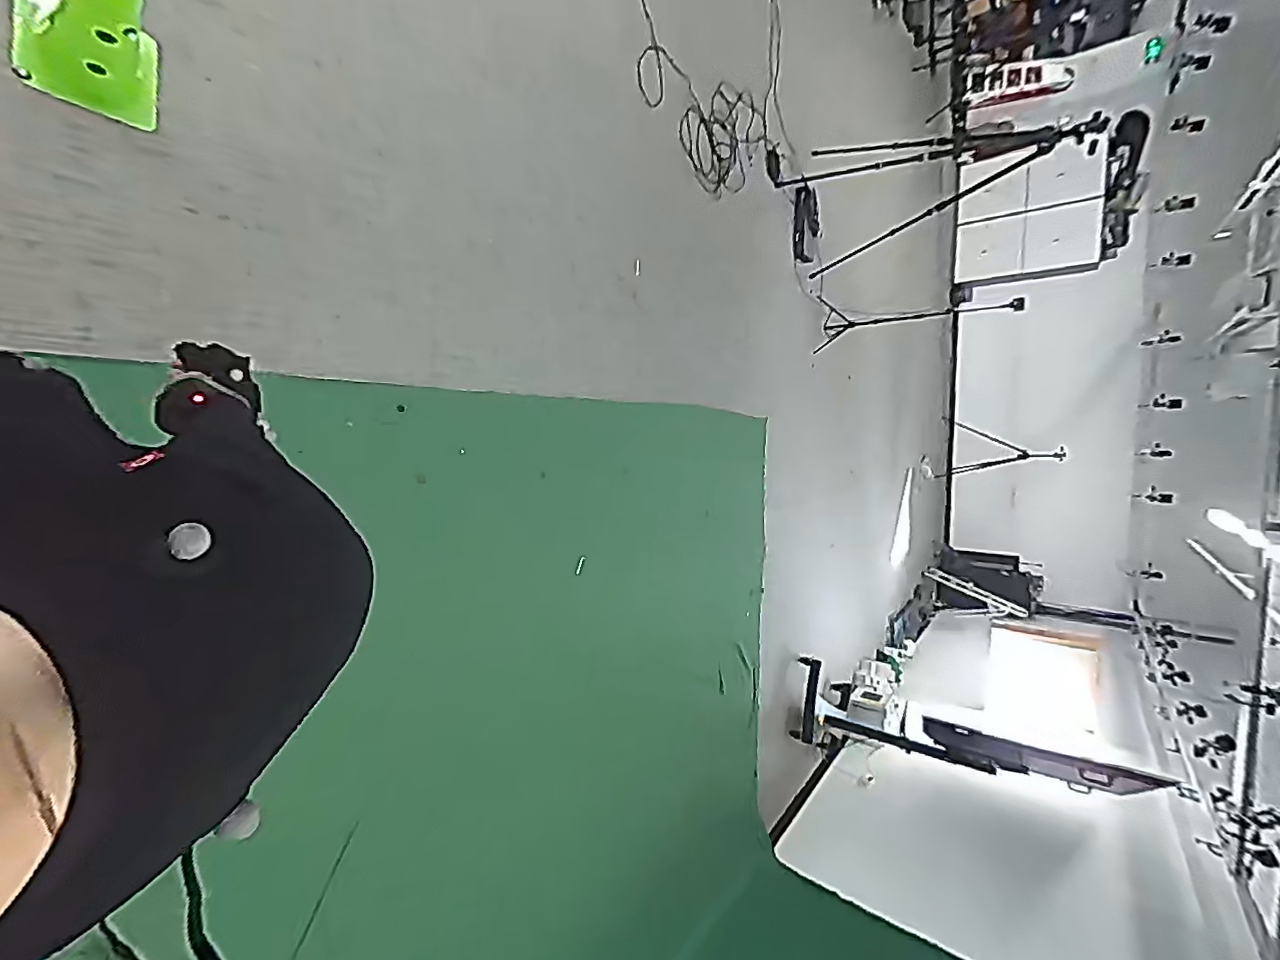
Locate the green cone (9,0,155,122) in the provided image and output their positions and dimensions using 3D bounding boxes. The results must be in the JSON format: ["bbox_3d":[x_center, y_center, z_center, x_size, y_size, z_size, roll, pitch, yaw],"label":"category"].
[{"bbox_3d":[-0.947,-0.835,0.953,0.200,0.368,0.202,-2,93,-53],"label":"green cone"}]
